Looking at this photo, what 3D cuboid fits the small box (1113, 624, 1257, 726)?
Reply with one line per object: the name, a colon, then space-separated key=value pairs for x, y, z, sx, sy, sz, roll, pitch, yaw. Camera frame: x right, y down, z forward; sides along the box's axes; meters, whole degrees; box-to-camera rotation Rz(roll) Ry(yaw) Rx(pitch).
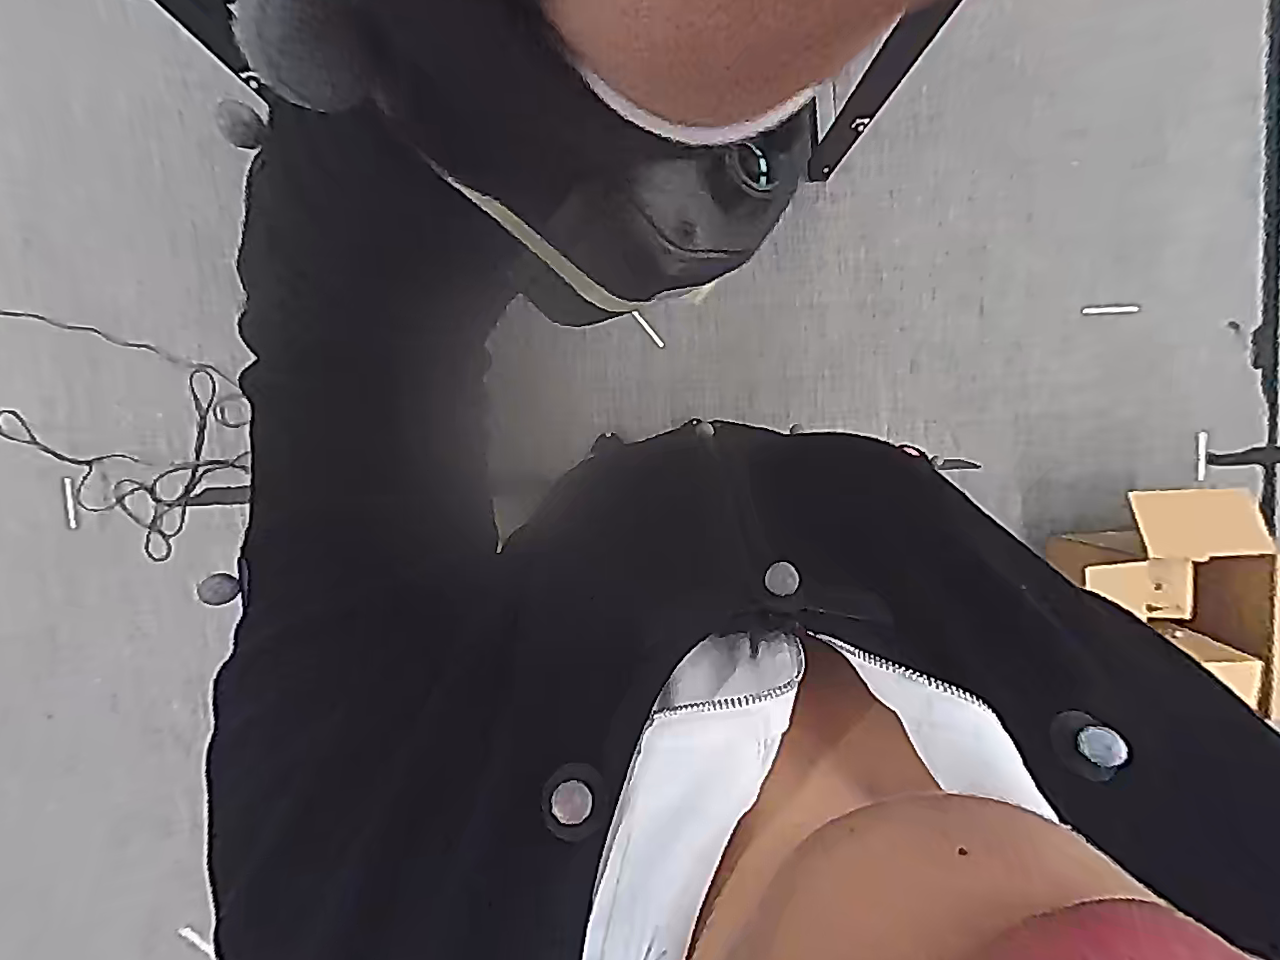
small box: x=1.289 y=0.460 z=1.293 sx=0.168 sy=0.176 sz=0.179 roll=-1 pitch=99 yaw=-2
